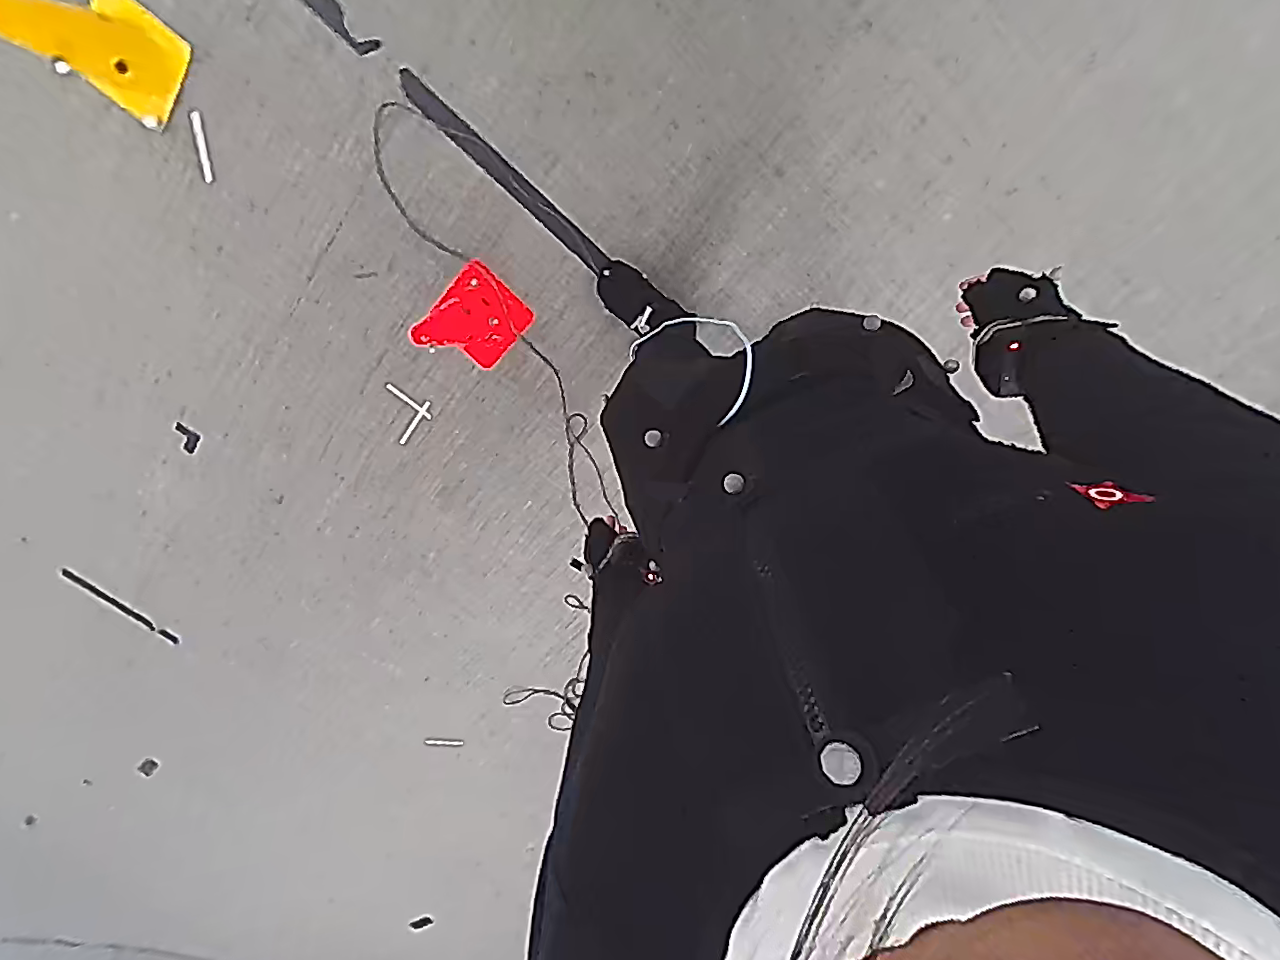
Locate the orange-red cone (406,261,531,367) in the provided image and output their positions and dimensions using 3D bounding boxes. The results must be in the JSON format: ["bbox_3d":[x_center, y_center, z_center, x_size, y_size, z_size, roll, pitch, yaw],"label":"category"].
[{"bbox_3d":[-0.405,-0.339,1.172,0.199,0.360,0.198,-41,103,19],"label":"orange-red cone"}]
